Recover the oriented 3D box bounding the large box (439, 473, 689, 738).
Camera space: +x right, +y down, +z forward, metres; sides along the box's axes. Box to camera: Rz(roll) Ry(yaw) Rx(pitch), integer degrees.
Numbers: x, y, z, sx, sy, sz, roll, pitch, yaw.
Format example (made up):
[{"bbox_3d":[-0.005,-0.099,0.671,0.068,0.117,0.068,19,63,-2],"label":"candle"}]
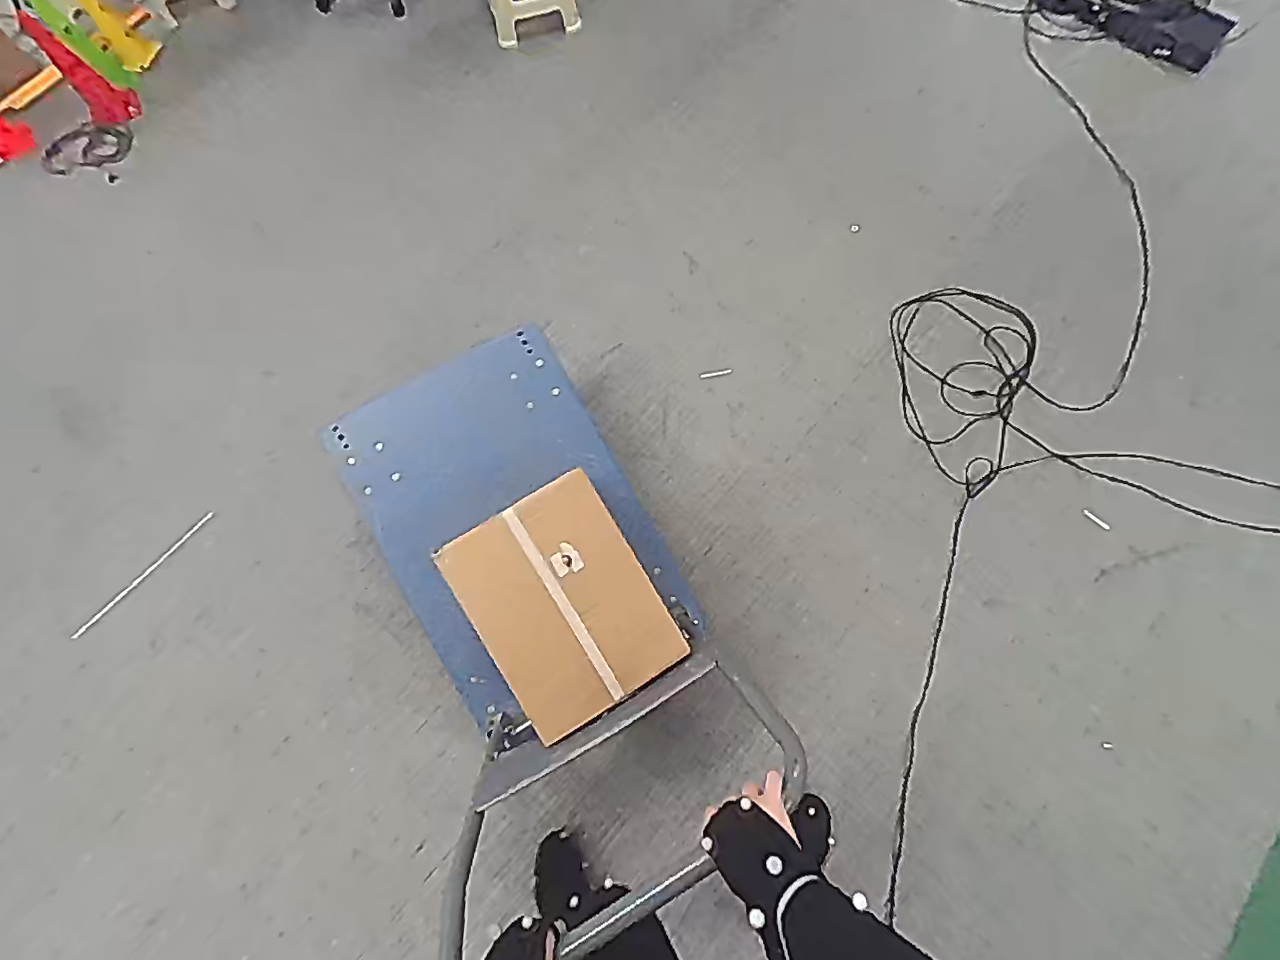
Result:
[{"bbox_3d":[-0.149,0.242,1.155,0.320,0.320,0.408,-32,89,-7],"label":"large box"}]
